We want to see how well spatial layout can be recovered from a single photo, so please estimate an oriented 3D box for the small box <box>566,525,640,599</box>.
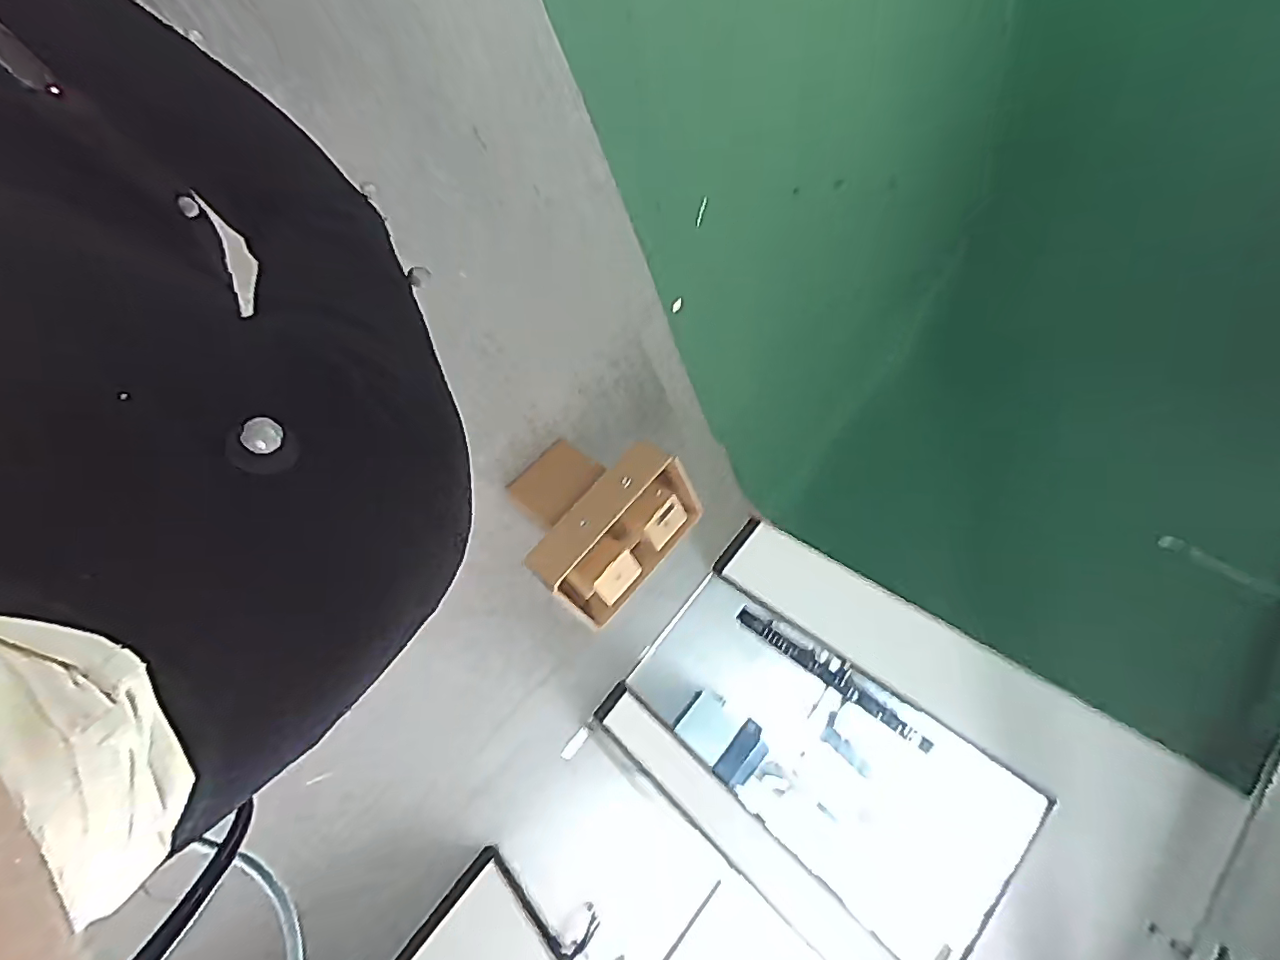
[{"bbox_3d":[-0.134,0.289,1.939,0.168,0.176,0.179,-47,141,-14],"label":"small box"}]
